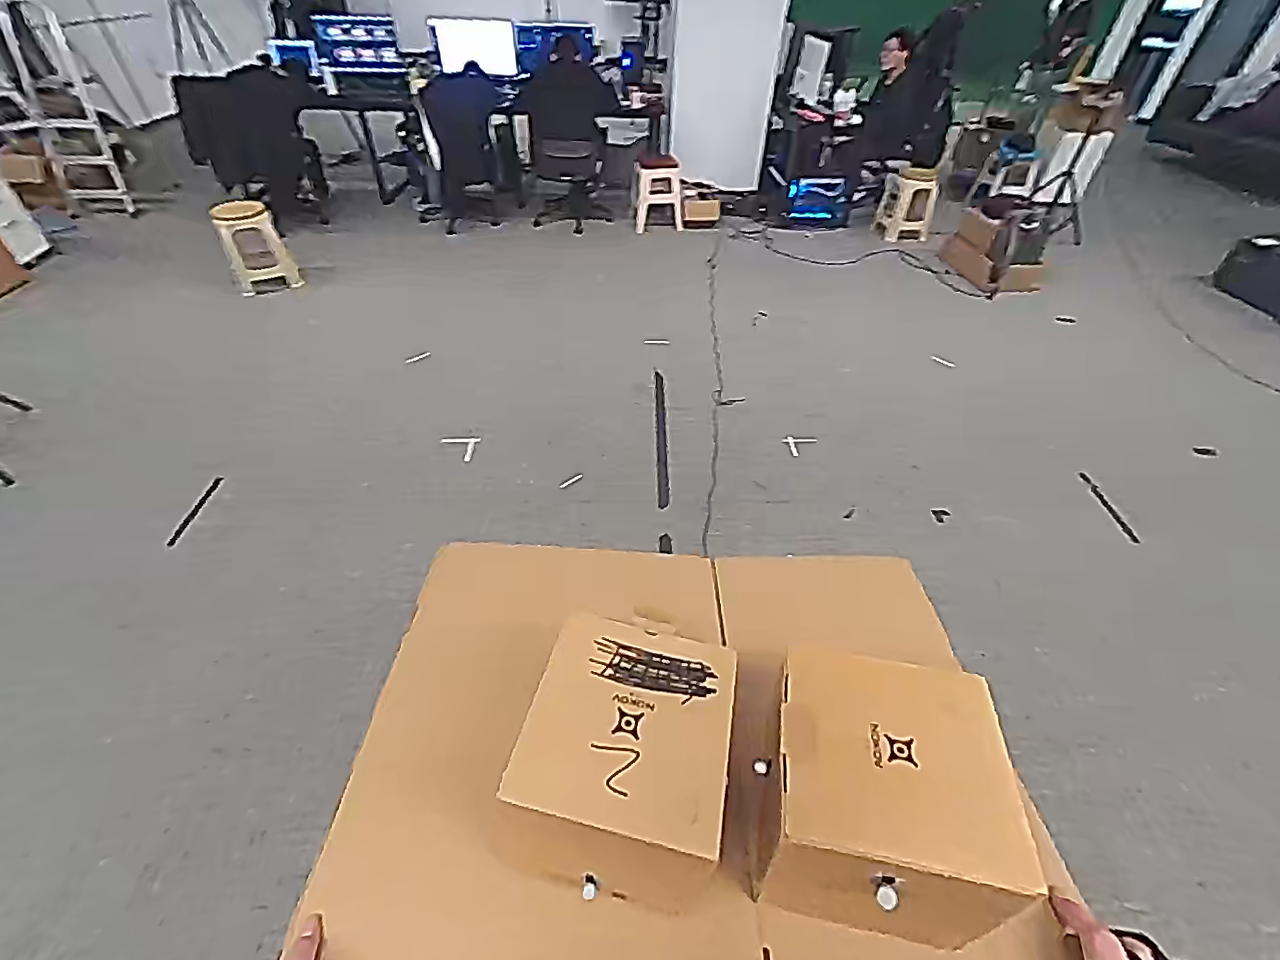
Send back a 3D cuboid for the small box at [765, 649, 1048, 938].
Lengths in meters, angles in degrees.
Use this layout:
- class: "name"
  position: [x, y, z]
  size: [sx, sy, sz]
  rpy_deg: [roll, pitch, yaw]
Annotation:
- class: "small box"
  position: [0.217, 0.285, 0.495]
  size: [0.179, 0.176, 0.168]
  rpy_deg: [7, 41, 11]
